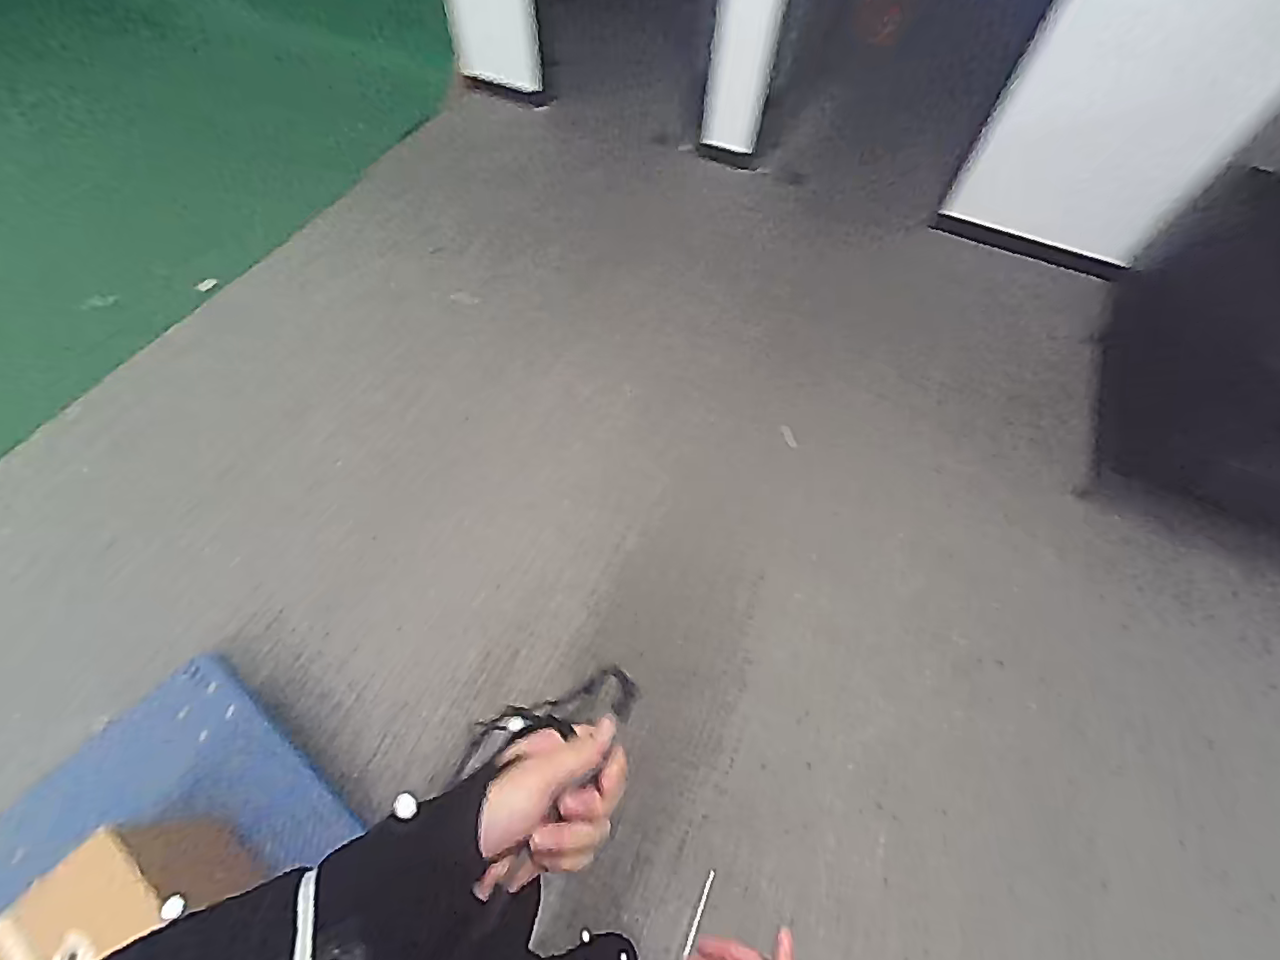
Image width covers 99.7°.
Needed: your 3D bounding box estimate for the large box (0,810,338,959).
[{"bbox_3d":[-0.825,0.847,0.921,0.408,0.320,0.320,36,64,18],"label":"large box"}]
